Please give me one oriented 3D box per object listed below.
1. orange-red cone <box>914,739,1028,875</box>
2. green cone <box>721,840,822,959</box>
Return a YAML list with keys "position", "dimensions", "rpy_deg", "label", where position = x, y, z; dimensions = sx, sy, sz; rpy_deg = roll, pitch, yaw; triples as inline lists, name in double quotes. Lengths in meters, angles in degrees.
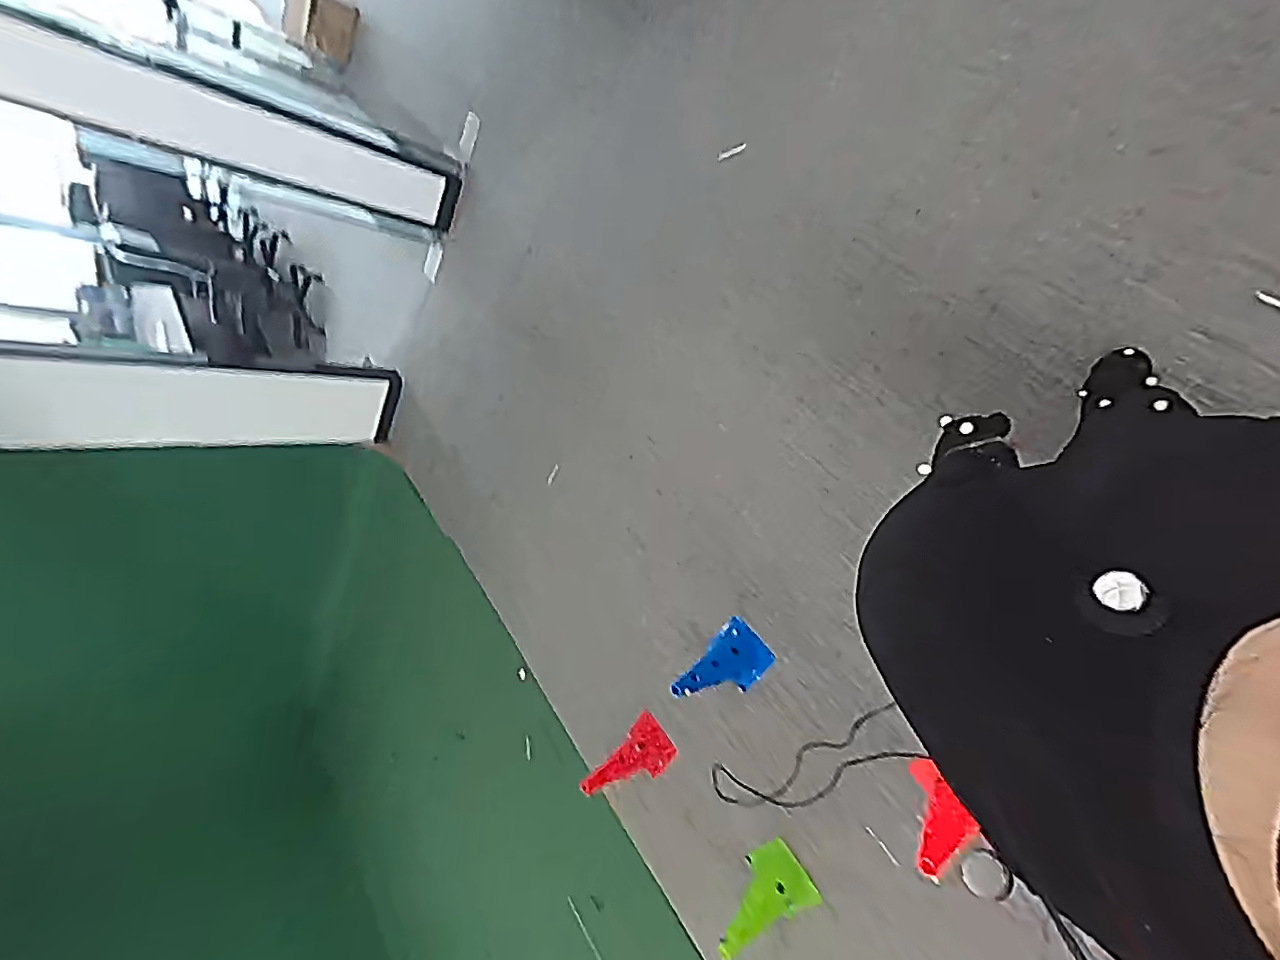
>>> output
- position: [0.722, 0.797, 1.259]
  dimensions: [0.198, 0.360, 0.199]
  rpy_deg: [54, 127, 26]
  label: "orange-red cone"
- position: [0.355, 1.311, 1.628]
  dimensions: [0.200, 0.368, 0.202]
  rpy_deg: [51, 123, 26]
  label: "green cone"
